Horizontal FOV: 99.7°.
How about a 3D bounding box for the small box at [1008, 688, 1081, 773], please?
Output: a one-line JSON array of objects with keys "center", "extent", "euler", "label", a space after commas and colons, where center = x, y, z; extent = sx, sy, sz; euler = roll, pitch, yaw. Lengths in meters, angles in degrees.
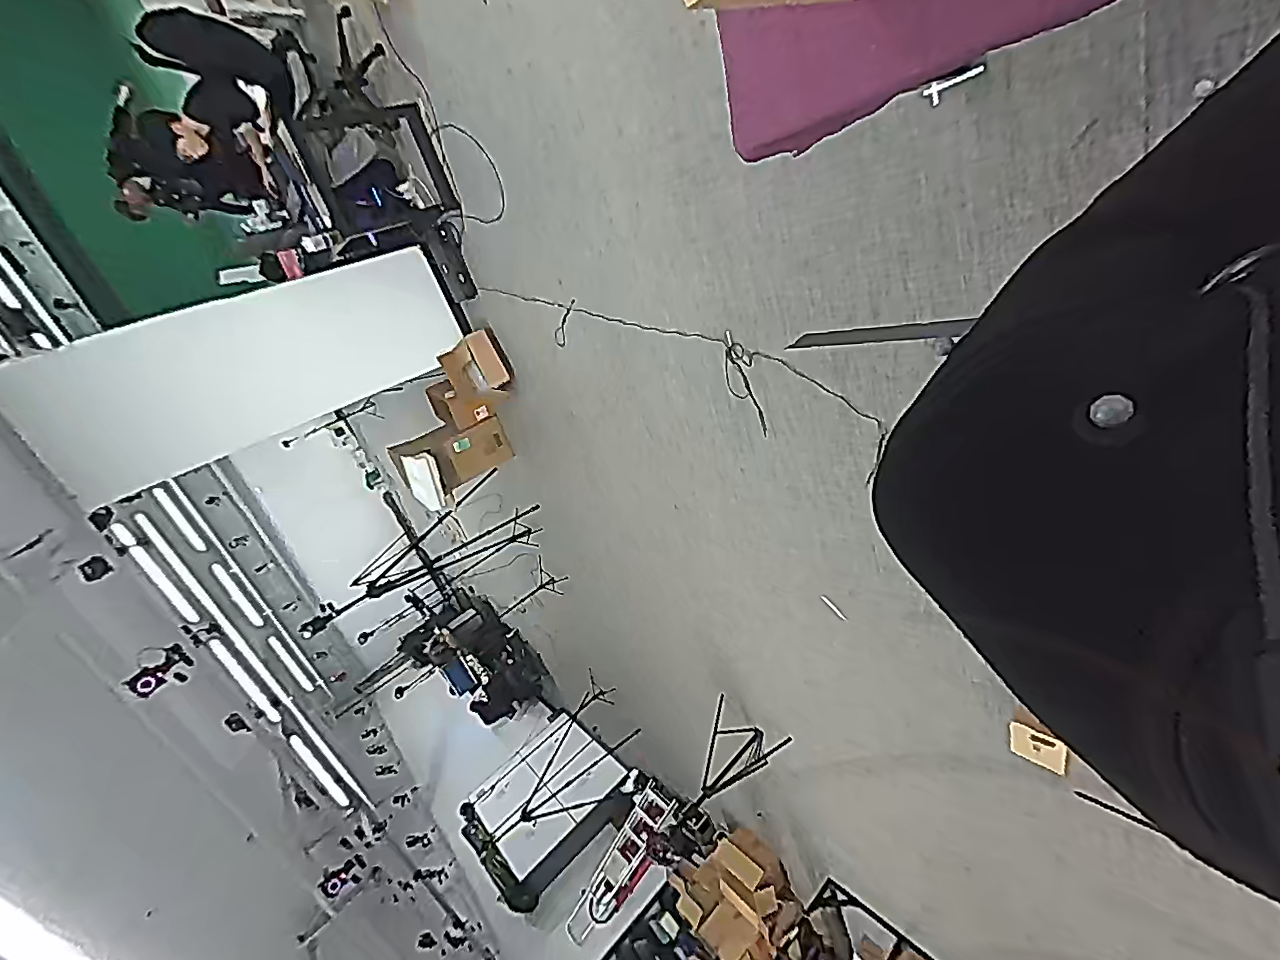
[{"center": [1.435, 0.880, 1.918], "extent": [0.168, 0.176, 0.179], "euler": [16, 133, 50], "label": "small box"}]
